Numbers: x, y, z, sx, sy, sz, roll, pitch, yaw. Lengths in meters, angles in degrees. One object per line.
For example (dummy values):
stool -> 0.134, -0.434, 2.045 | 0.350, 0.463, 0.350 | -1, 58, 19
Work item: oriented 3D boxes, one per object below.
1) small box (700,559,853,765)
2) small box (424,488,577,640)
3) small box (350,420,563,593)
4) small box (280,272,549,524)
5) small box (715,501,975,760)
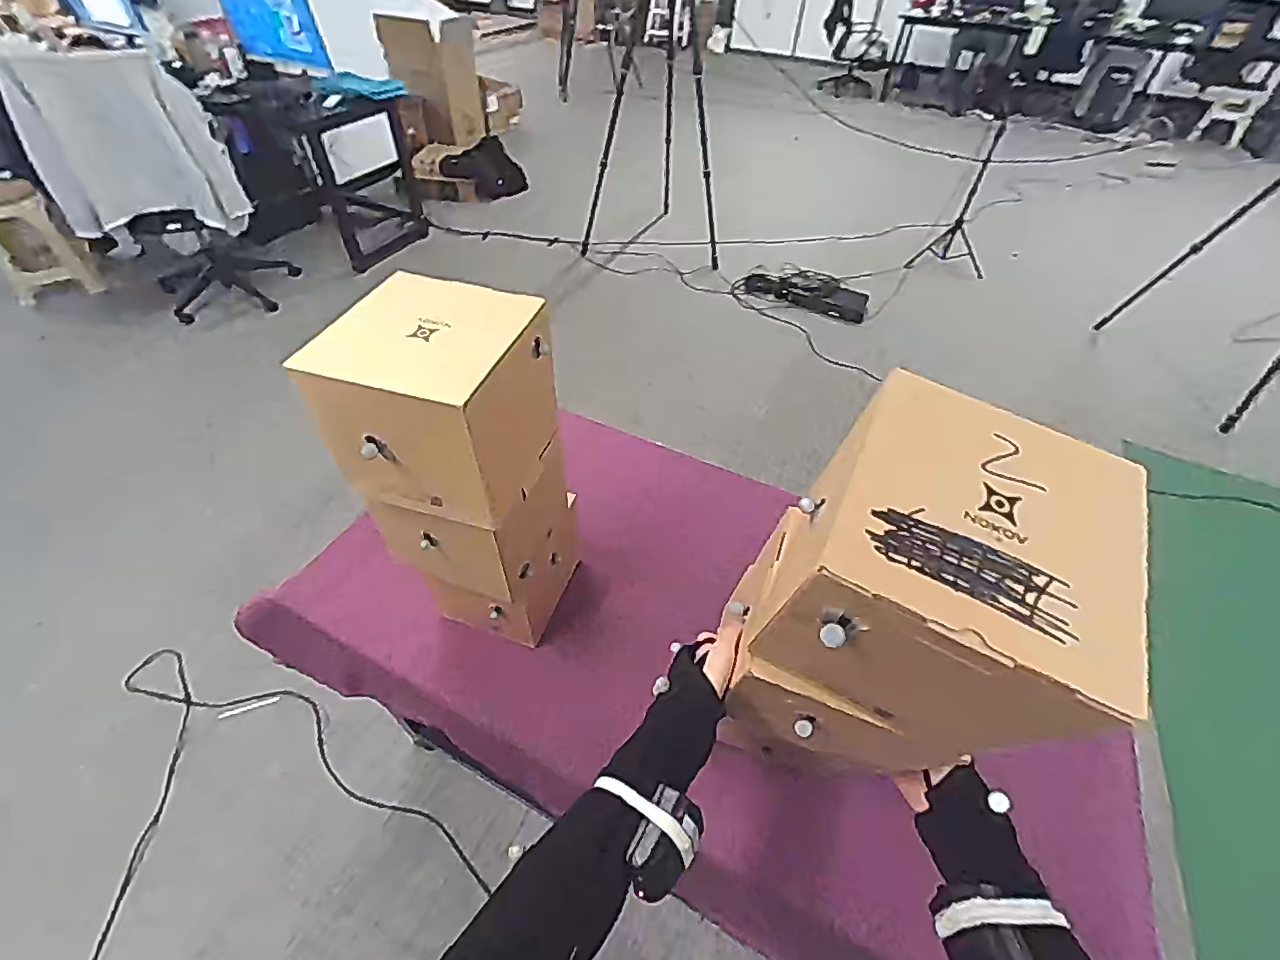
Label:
small box -> 0.179, 0.228, 0.666 | 0.168, 0.176, 0.179 | 17, 59, 7
small box -> -0.200, 0.111, 0.813 | 0.168, 0.176, 0.179 | 16, 48, 12
small box -> -0.209, 0.018, 0.676 | 0.179, 0.176, 0.168 | 16, 49, 12
small box -> -0.200, -0.081, 0.547 | 0.168, 0.176, 0.179 | 13, 48, 9
small box -> 0.184, 0.151, 0.520 | 0.179, 0.176, 0.168 | 20, 60, 9
